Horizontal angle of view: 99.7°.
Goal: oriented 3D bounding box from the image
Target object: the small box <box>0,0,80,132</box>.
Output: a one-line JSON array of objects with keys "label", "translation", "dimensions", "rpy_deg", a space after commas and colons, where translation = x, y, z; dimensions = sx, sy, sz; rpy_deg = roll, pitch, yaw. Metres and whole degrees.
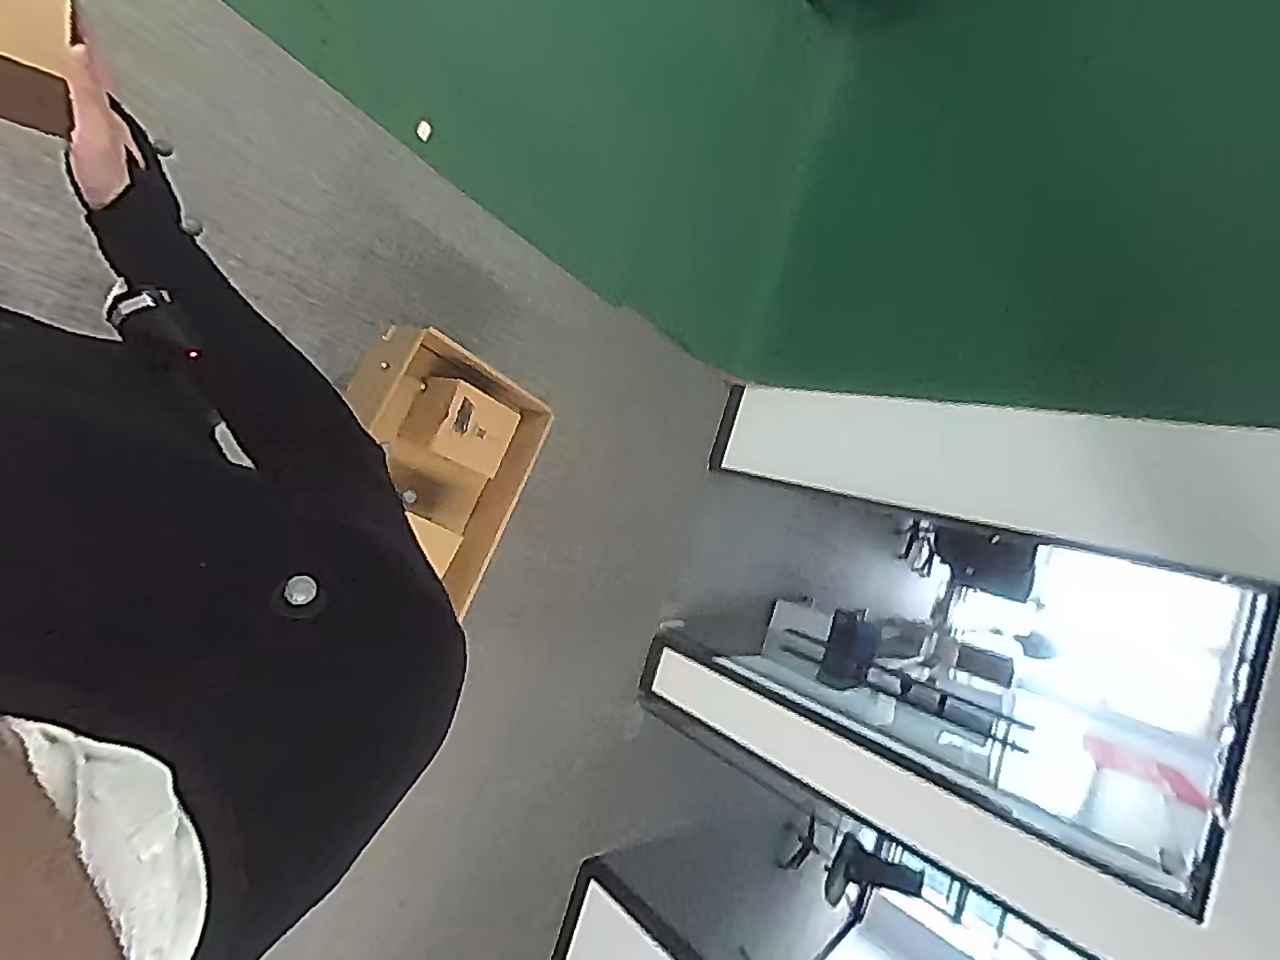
[{"label": "small box", "translation": [-0.512, -0.388, 0.377], "dimensions": [0.168, 0.176, 0.179], "rpy_deg": [2, 99, -46]}]

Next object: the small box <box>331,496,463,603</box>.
[{"label": "small box", "translation": [-0.539, 0.149, 1.200], "dimensions": [0.179, 0.176, 0.168], "rpy_deg": [39, 71, -46]}]
